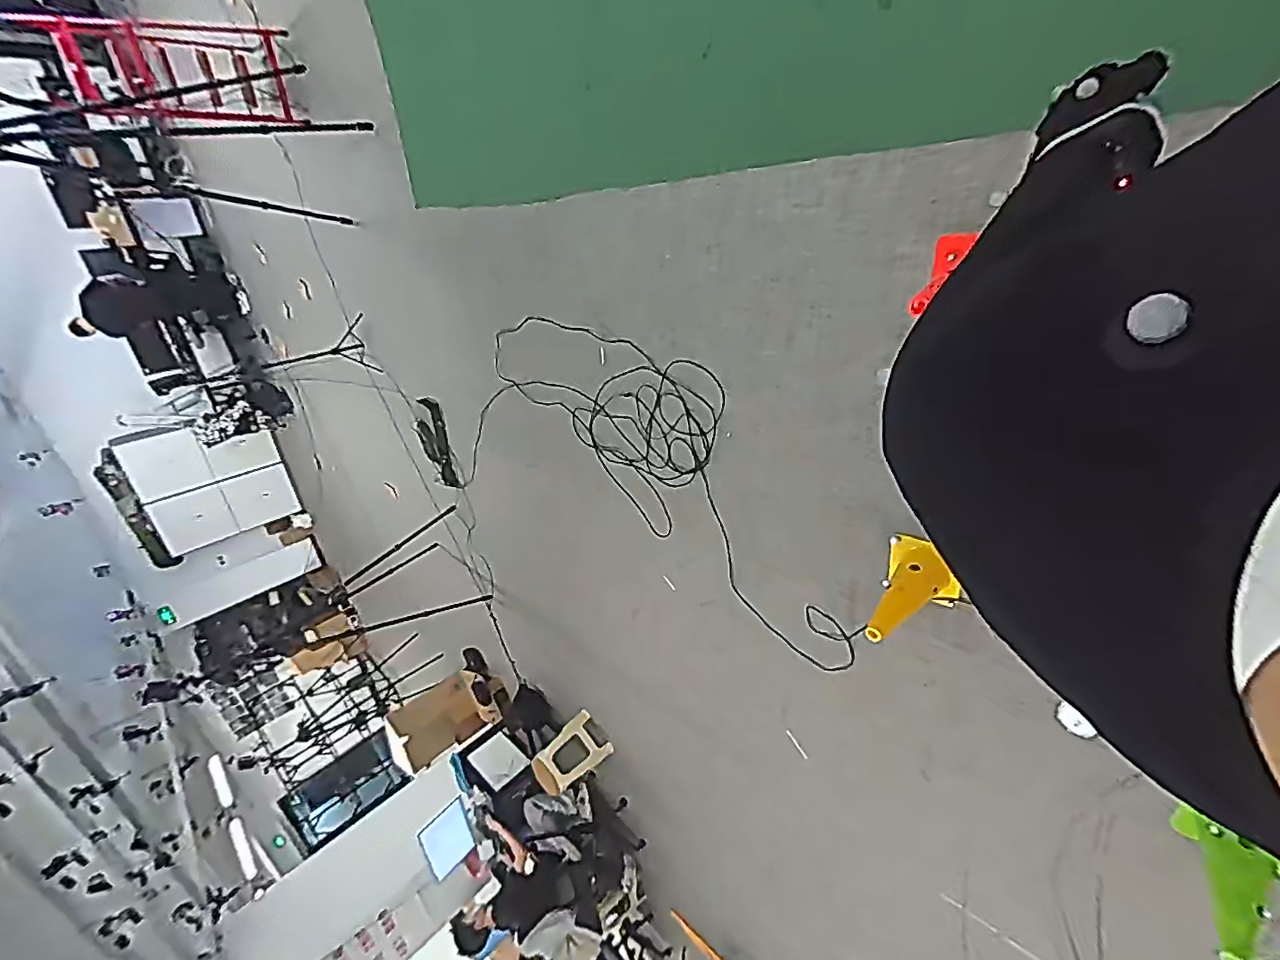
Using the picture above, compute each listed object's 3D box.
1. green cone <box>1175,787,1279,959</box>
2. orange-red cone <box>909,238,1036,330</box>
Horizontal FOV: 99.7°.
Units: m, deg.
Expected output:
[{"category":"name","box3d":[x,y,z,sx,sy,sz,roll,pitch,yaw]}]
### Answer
[{"category":"green cone","box3d":[1.316,0.910,1.187,0.202,0.368,0.200,19,125,43]},{"category":"orange-red cone","box3d":[0.664,-0.389,1.149,0.198,0.360,0.199,21,128,42]}]
